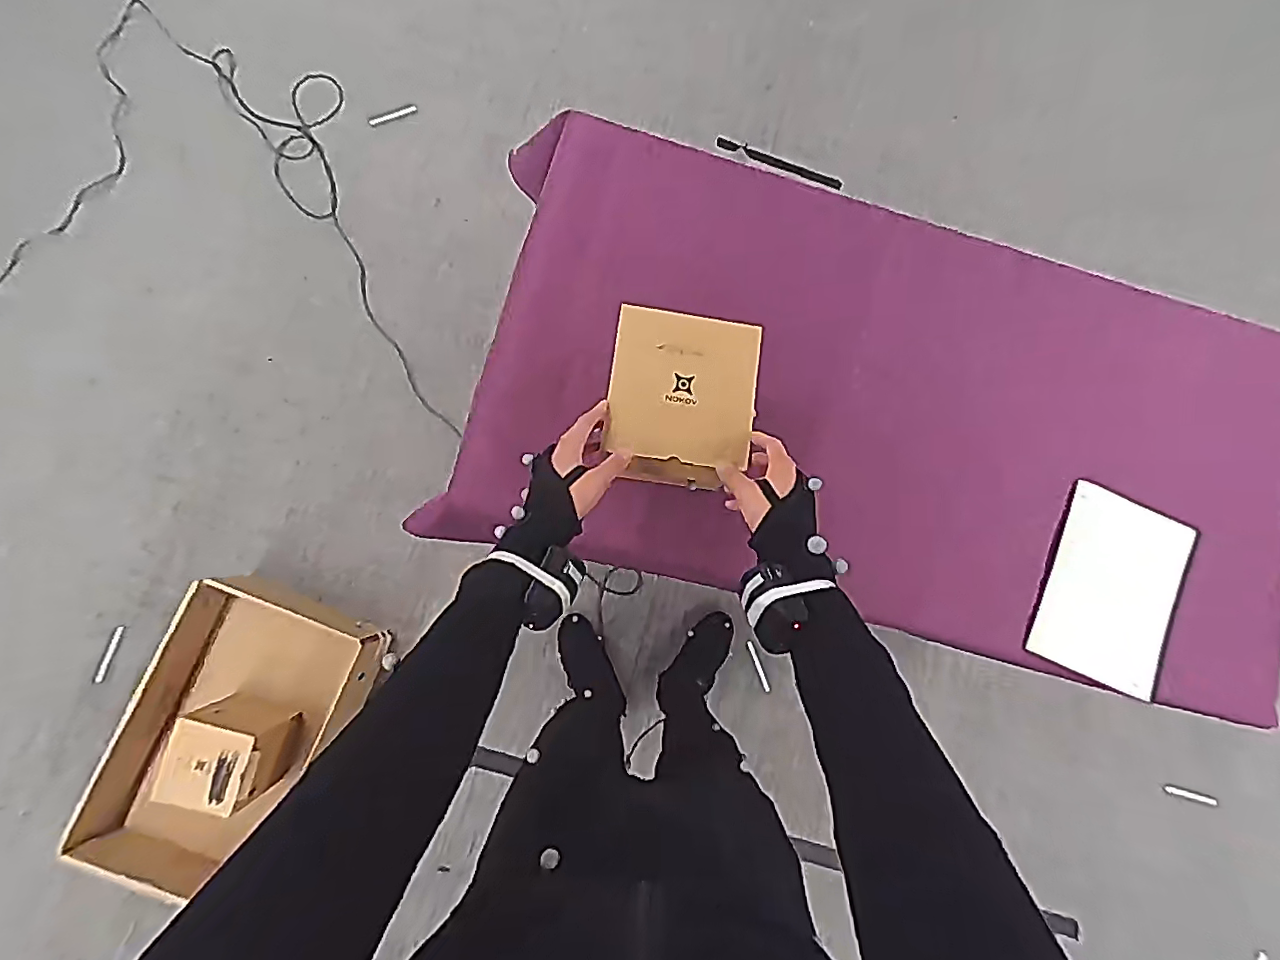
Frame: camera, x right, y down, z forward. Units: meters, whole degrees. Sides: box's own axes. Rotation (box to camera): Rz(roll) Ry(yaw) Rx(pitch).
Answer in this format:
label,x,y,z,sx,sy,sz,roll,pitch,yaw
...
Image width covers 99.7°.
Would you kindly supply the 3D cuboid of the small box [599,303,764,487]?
label,x,y,z,sx,sy,sz,roll,pitch,yaw
small box,0.044,-0.093,0.681,0.168,0.176,0.179,9,82,-4
